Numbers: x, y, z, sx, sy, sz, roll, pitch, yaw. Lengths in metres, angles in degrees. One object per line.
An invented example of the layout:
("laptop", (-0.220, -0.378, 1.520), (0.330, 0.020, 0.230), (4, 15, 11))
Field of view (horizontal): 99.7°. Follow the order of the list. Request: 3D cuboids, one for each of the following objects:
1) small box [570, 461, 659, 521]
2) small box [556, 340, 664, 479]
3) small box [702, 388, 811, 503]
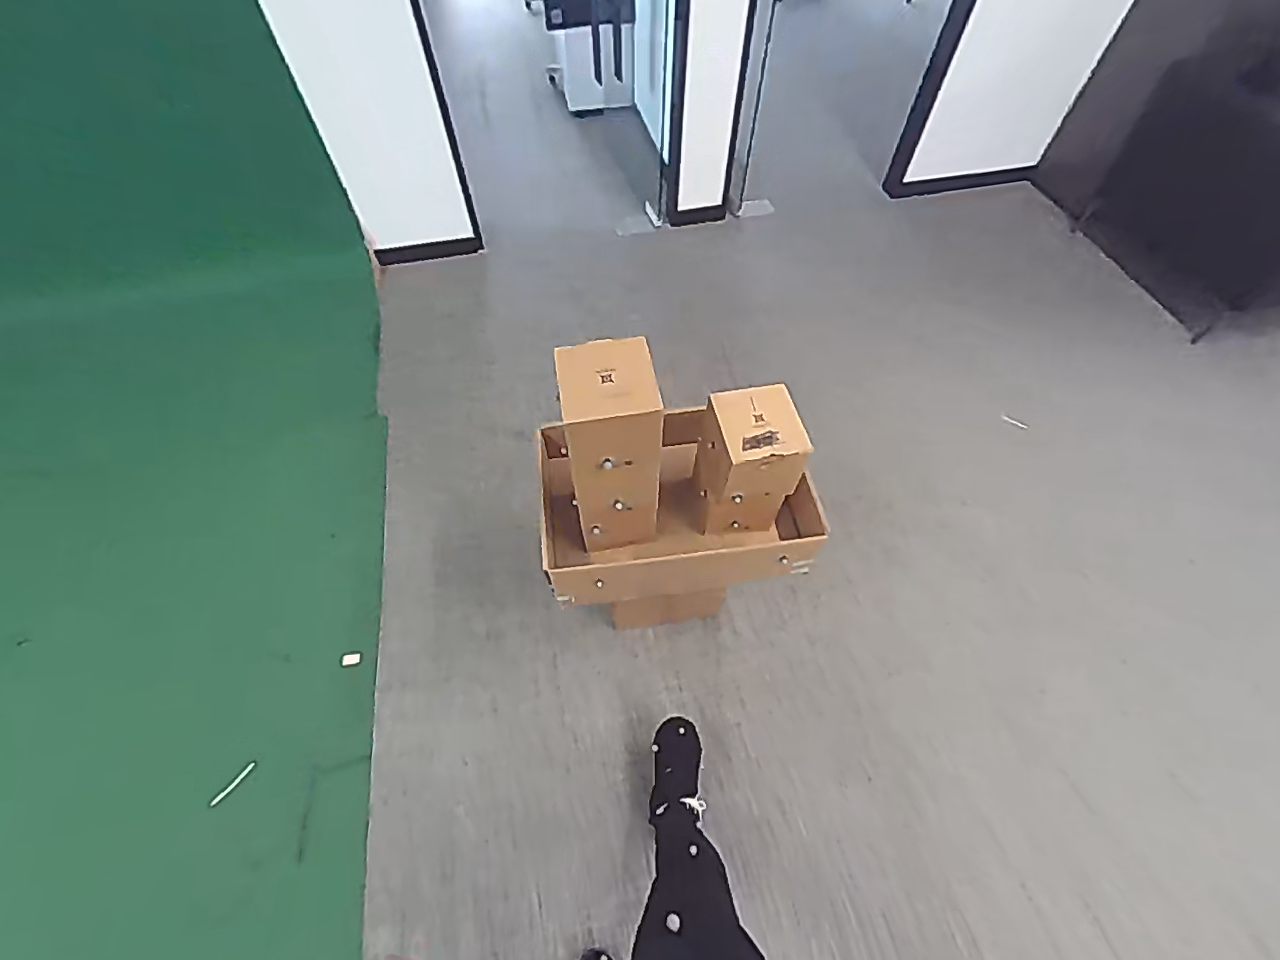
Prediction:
("small box", (-0.059, -0.037, 1.111), (0.168, 0.176, 0.179), (-8, 57, -6))
("small box", (-0.056, -0.125, 0.974), (0.168, 0.176, 0.179), (-8, 57, -5))
("small box", (0.235, -0.065, 1.136), (0.168, 0.176, 0.179), (-8, 58, -7))
